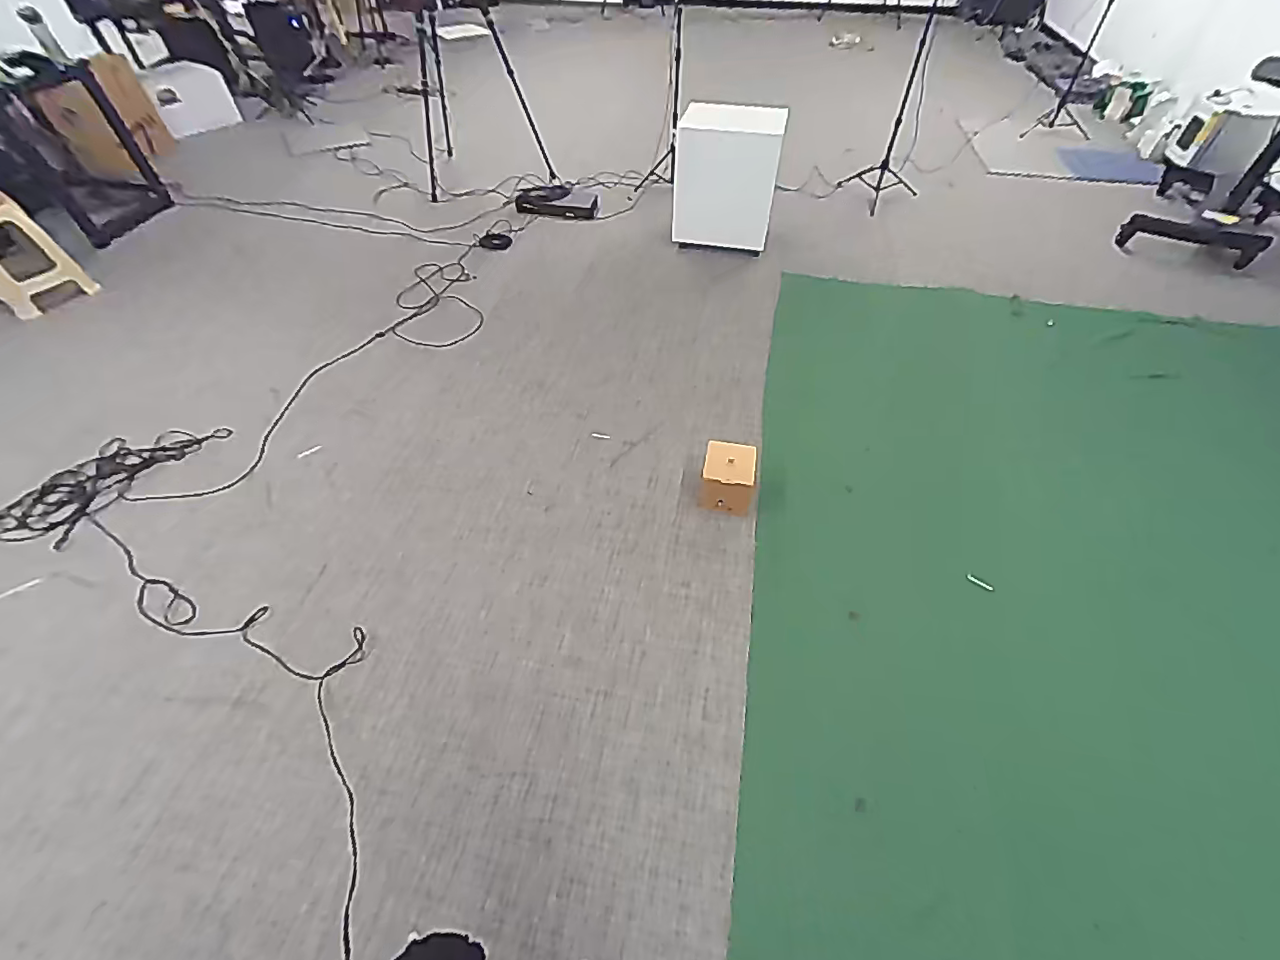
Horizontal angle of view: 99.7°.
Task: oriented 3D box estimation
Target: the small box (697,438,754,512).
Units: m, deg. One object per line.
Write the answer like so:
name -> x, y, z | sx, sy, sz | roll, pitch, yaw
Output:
small box -> 0.291, -0.016, 1.849 | 0.168, 0.176, 0.179 | 8, 51, 7
